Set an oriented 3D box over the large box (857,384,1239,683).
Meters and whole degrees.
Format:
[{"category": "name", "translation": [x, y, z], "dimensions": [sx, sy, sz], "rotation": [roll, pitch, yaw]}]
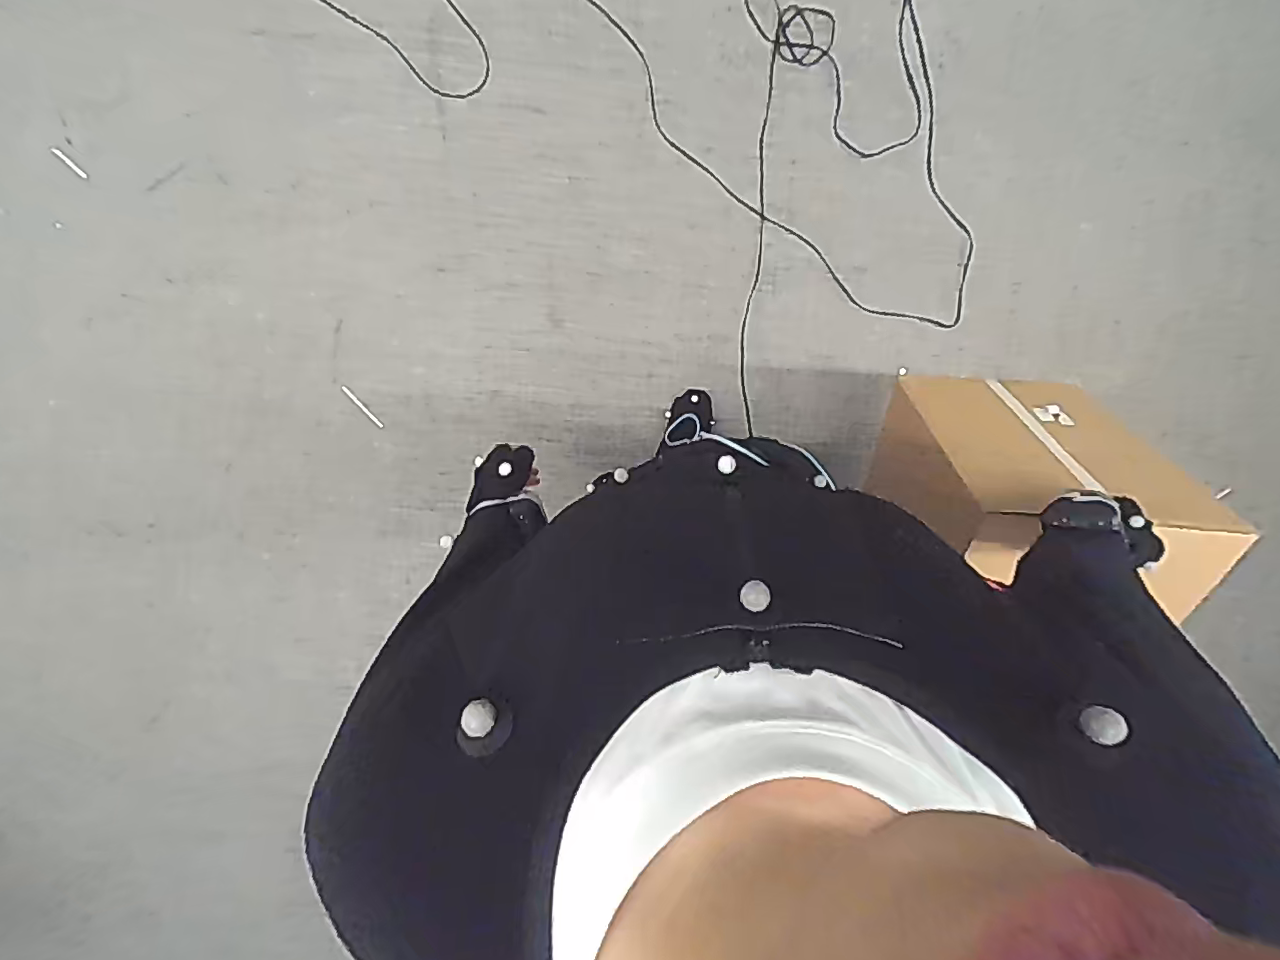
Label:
[{"category": "large box", "translation": [0.592, 0.070, 0.905], "dimensions": [0.320, 0.408, 0.320], "rotation": [5, 125, 5]}]
